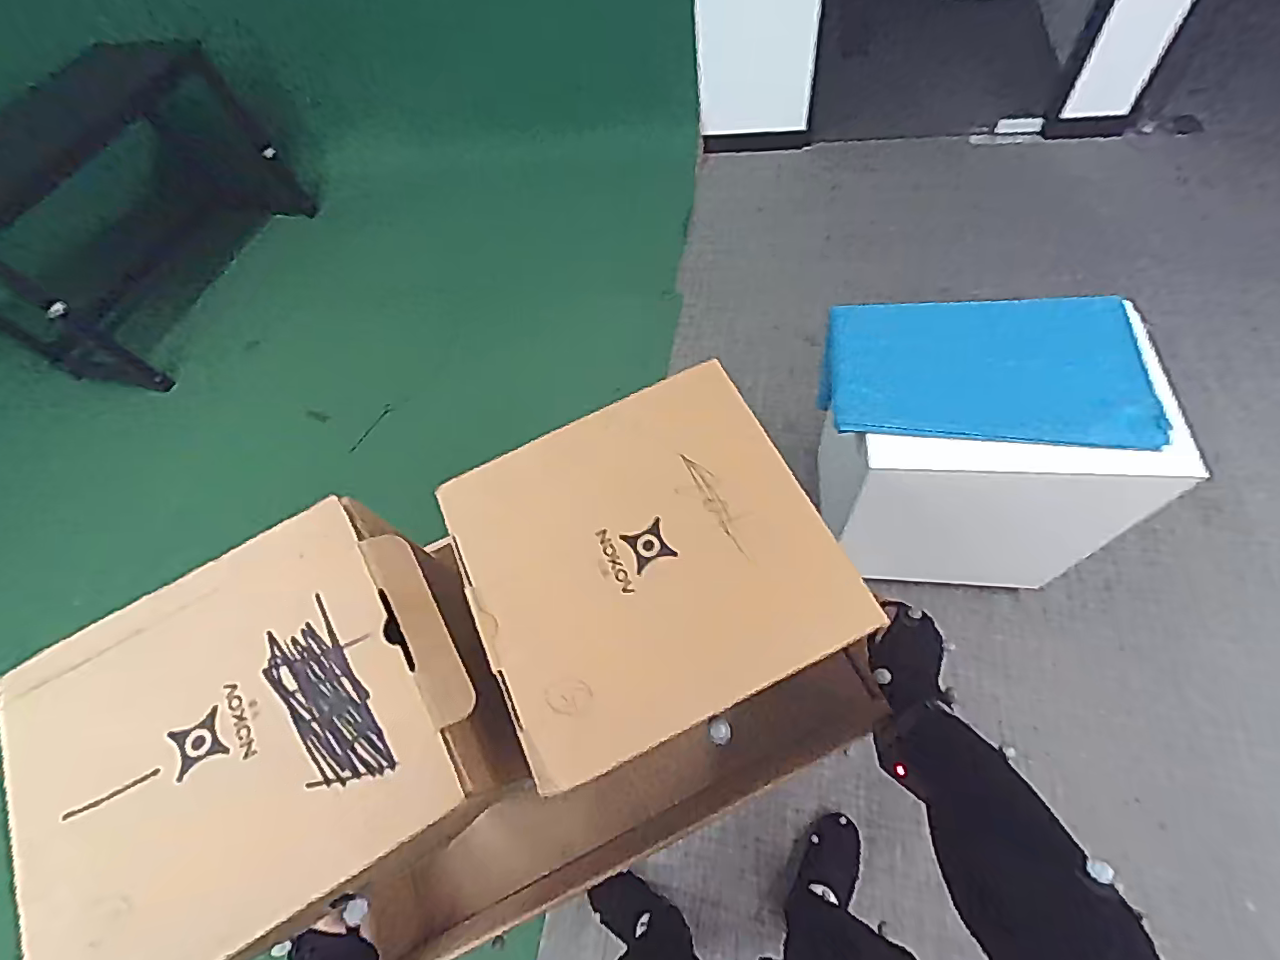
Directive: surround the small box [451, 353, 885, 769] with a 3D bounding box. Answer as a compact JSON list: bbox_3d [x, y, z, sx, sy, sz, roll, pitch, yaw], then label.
[{"bbox_3d":[0.013,0.059,0.346,0.179,0.176,0.168,-25,67,-5],"label":"small box"}]
